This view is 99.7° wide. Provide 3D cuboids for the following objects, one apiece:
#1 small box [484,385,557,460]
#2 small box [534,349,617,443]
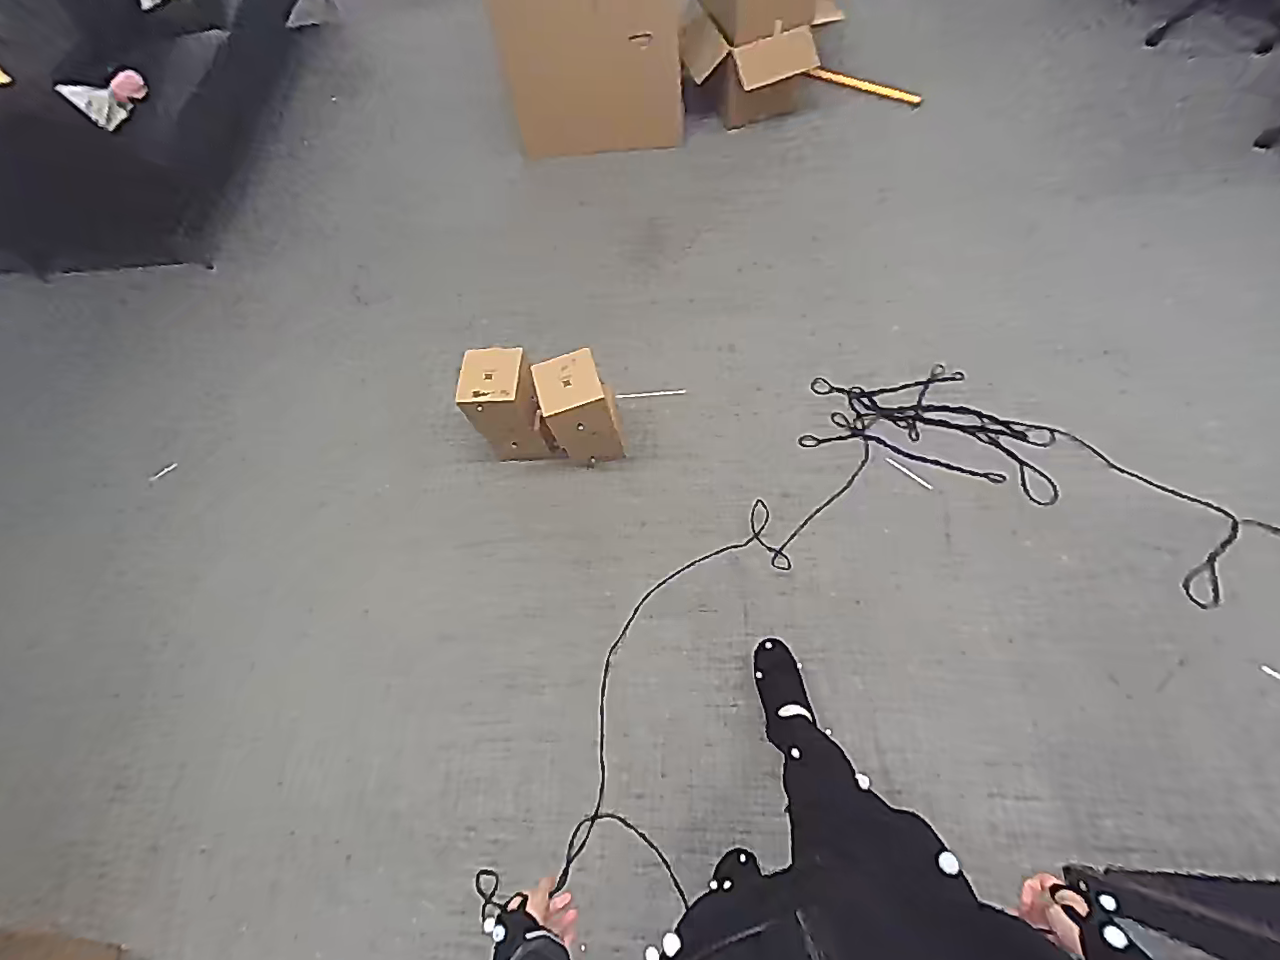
[{"bbox_3d":[-0.354,-0.172,1.658,0.179,0.176,0.168,-2,63,8],"label":"small box"},{"bbox_3d":[-0.171,-0.218,1.471,0.168,0.176,0.179,-18,62,0],"label":"small box"}]
